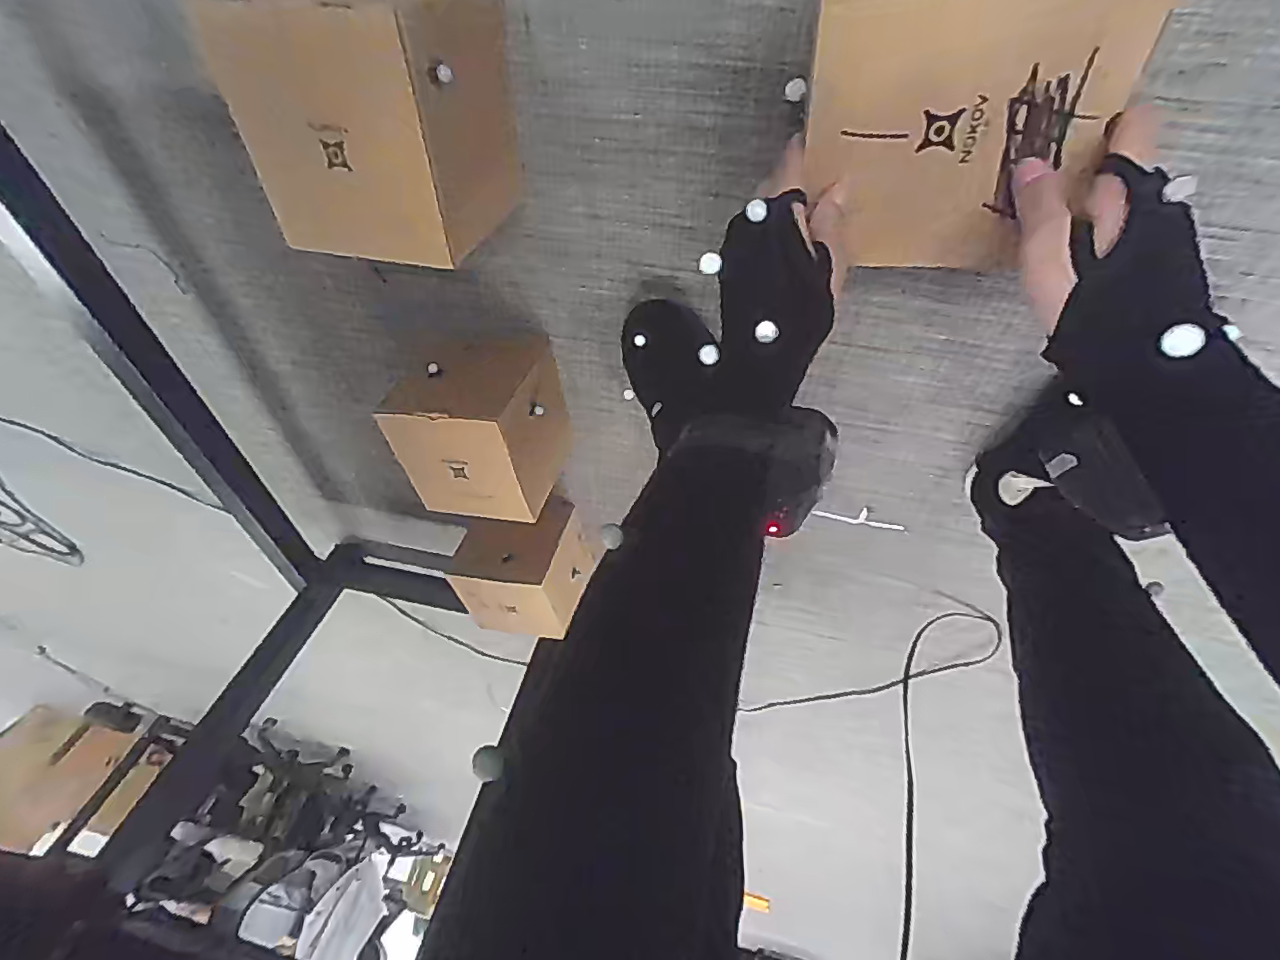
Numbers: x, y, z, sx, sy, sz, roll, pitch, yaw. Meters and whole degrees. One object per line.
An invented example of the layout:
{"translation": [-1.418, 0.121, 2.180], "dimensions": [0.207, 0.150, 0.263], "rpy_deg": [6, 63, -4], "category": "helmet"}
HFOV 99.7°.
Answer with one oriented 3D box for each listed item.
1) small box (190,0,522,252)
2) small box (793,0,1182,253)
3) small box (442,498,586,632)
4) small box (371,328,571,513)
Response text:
{"translation": [-0.213, -0.325, 0.464], "dimensions": [0.168, 0.176, 0.179], "rpy_deg": [11, 136, 8], "category": "small box"}
{"translation": [0.209, -0.275, 0.374], "dimensions": [0.179, 0.176, 0.168], "rpy_deg": [7, 136, 12], "category": "small box"}
{"translation": [-0.202, 0.140, 0.936], "dimensions": [0.179, 0.176, 0.168], "rpy_deg": [4, 136, 14], "category": "small box"}
{"translation": [-0.204, -0.083, 0.709], "dimensions": [0.168, 0.176, 0.179], "rpy_deg": [6, 137, 14], "category": "small box"}
